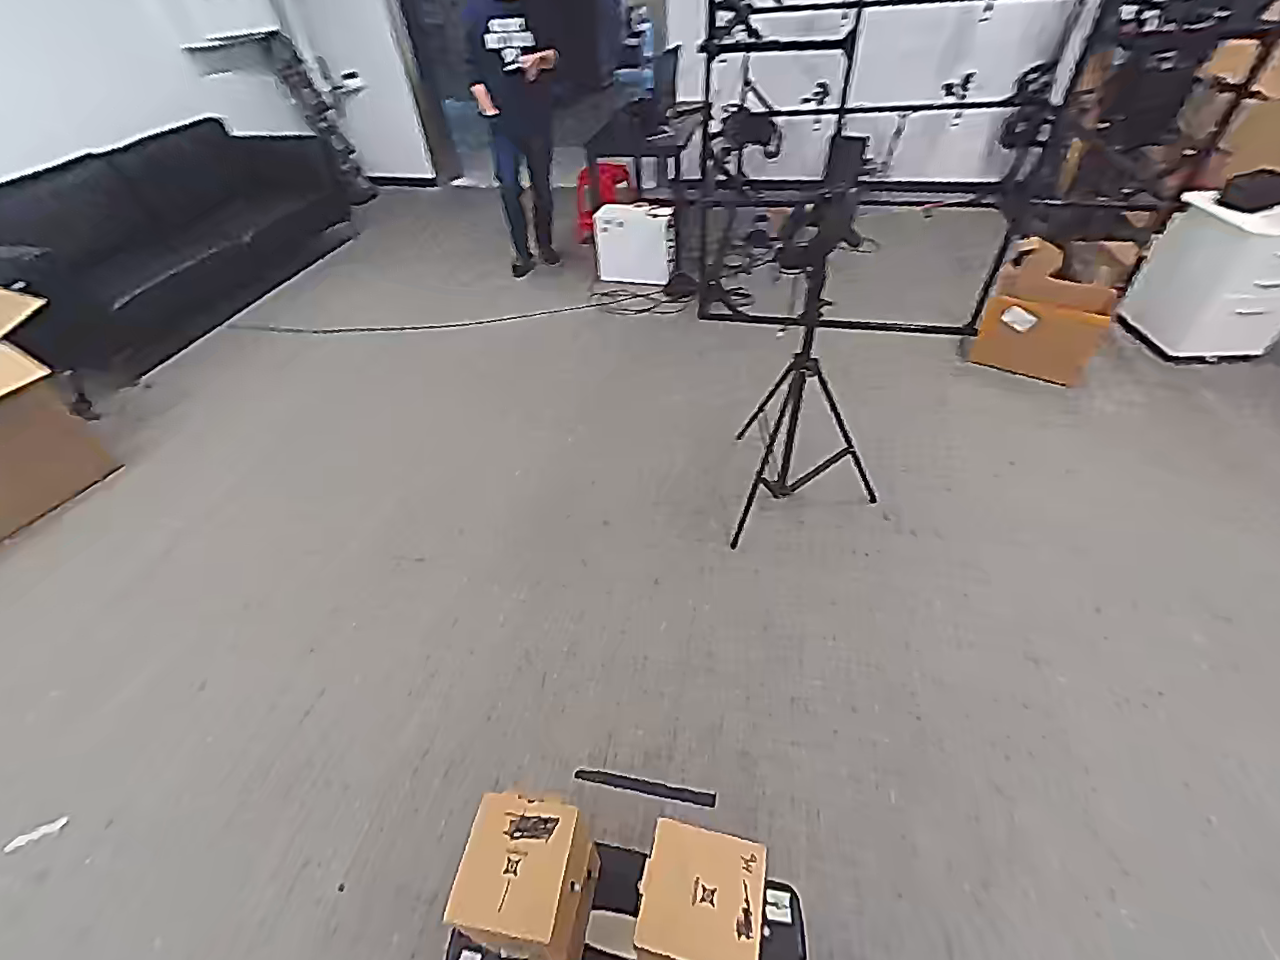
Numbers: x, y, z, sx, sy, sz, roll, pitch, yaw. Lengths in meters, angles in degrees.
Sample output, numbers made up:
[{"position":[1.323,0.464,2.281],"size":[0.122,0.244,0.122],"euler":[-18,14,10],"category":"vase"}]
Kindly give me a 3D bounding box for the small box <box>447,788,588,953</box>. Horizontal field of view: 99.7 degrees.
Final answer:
[{"position":[-0.185,0.639,0.886],"size":[0.168,0.176,0.179],"euler":[5,45,9],"category":"small box"}]

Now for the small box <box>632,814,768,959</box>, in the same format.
[{"position":[0.098,0.660,0.847],"size":[0.179,0.176,0.168],"euler":[8,45,13],"category":"small box"}]

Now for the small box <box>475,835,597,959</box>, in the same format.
[{"position":[-0.176,0.760,0.995],"size":[0.168,0.176,0.179],"euler":[6,45,10],"category":"small box"}]
